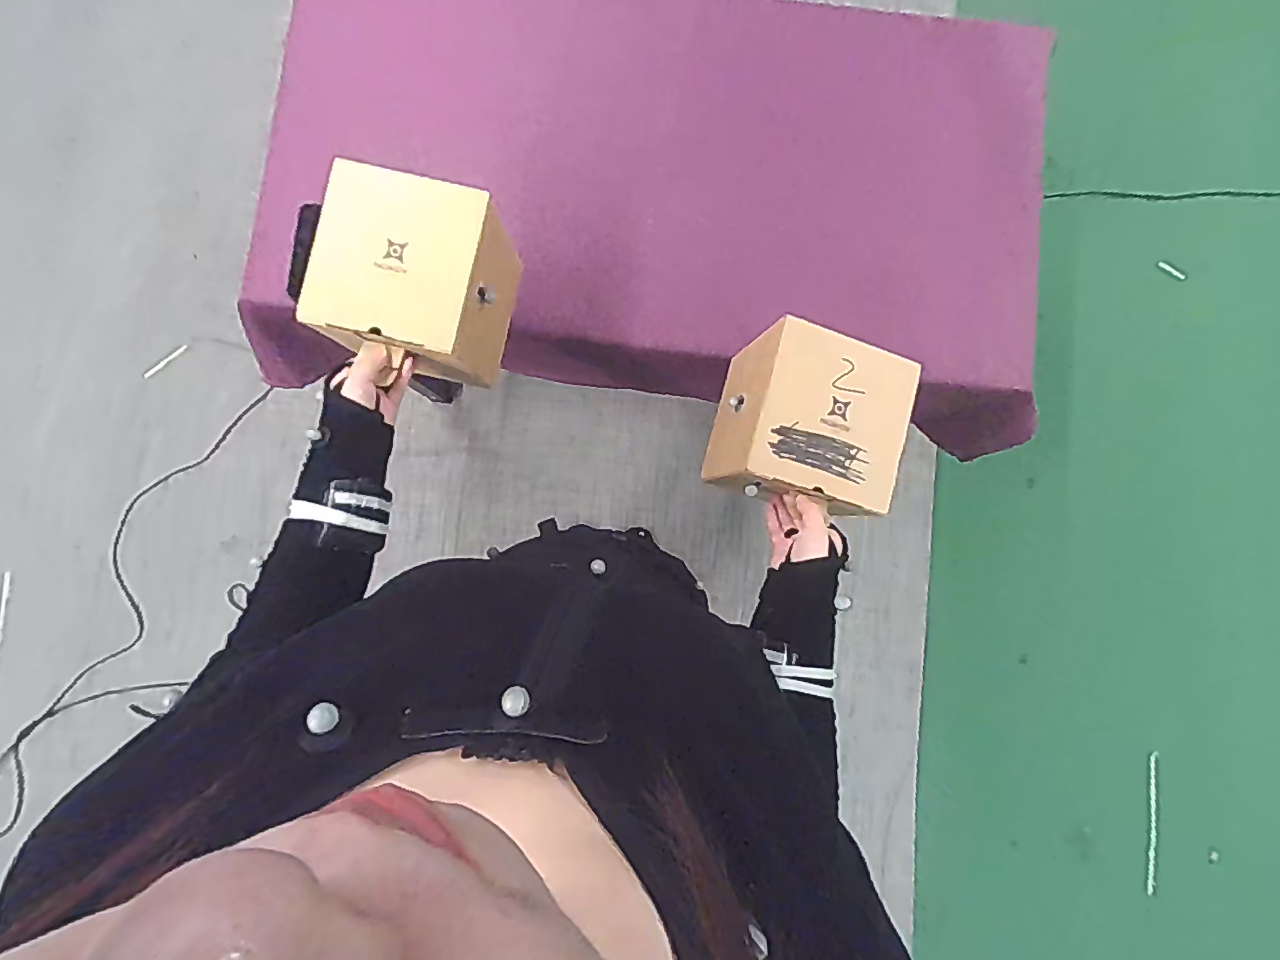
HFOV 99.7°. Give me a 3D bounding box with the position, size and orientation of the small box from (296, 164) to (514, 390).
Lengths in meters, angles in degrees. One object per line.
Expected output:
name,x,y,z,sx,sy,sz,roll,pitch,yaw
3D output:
small box,-0.254,-0.220,0.631,0.168,0.176,0.179,12,88,-1
